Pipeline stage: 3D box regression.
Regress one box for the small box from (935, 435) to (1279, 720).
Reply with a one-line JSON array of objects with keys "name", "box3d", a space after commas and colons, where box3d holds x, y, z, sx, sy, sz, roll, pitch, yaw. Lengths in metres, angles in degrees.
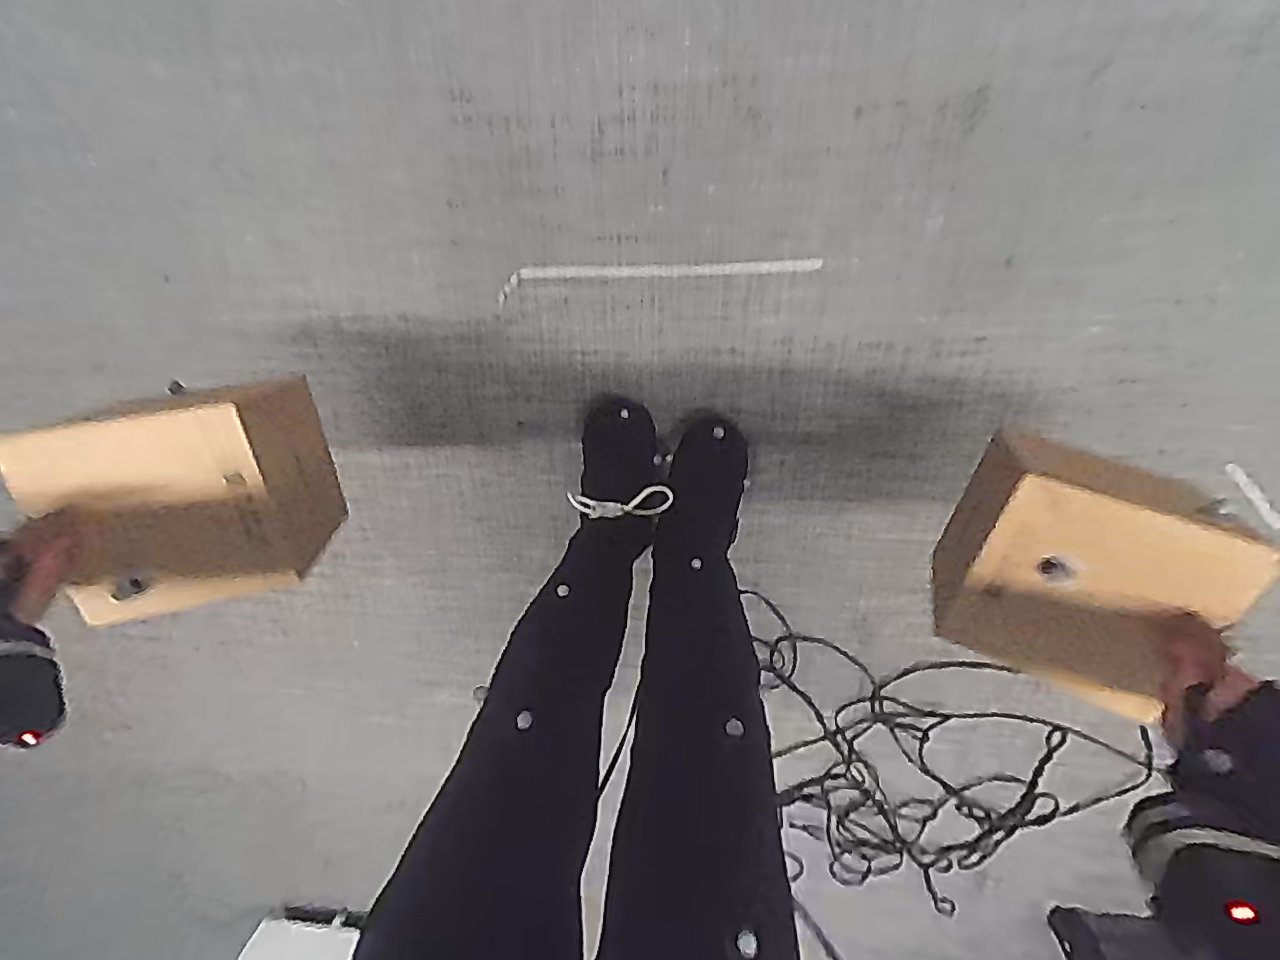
[{"name": "small box", "box3d": [0.396, 0.071, 0.503, 0.176, 0.179, 0.168, 22, 115, 18]}]
